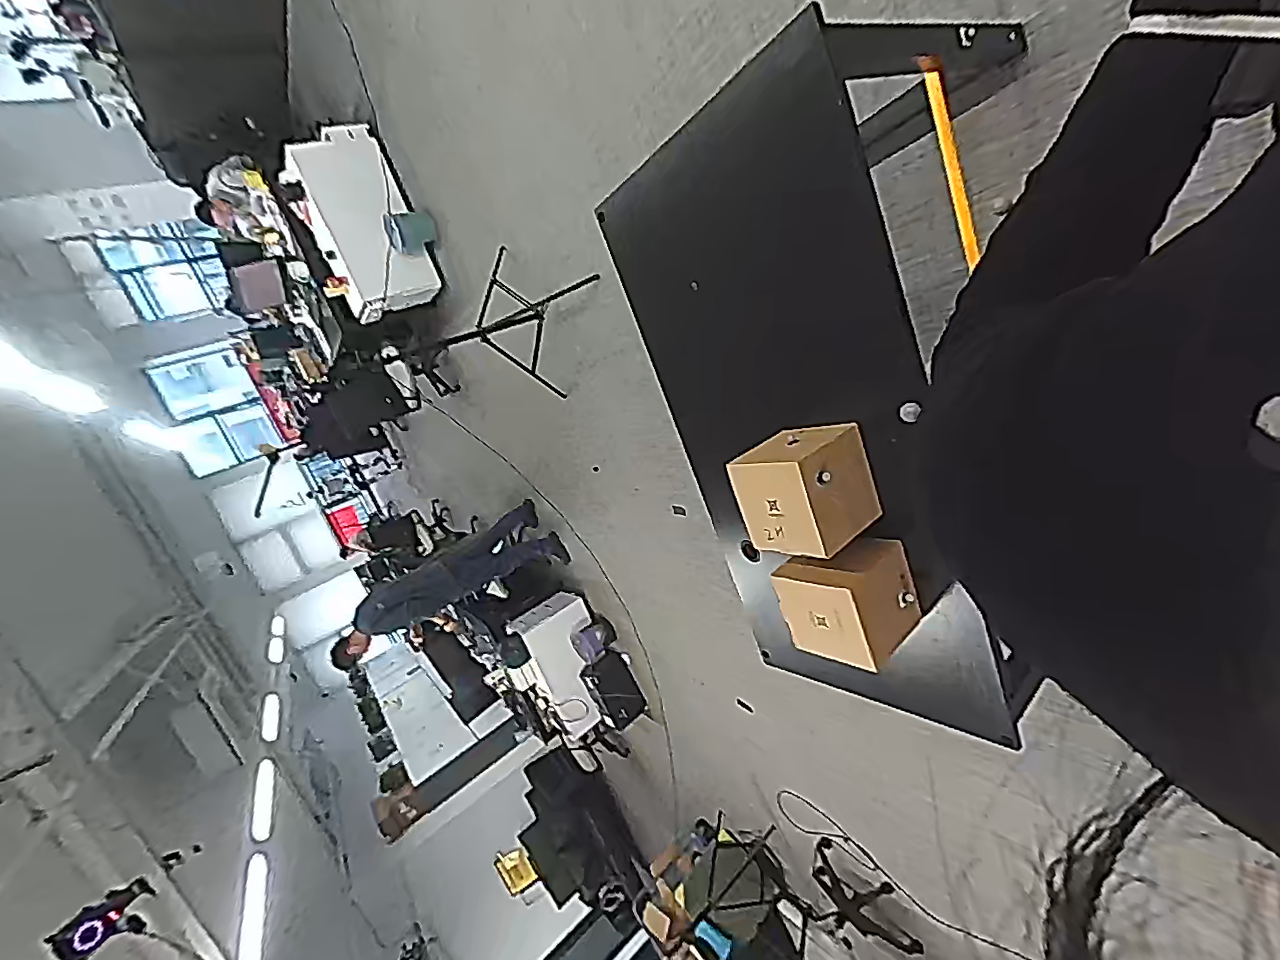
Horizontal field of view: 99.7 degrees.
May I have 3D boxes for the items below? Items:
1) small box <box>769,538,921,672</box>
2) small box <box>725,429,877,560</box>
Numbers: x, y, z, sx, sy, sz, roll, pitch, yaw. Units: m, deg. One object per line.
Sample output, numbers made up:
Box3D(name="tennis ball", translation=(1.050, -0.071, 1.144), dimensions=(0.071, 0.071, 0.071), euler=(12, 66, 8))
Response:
Box3D(name="small box", translation=(0.375, 0.215, 0.992), dimensions=(0.179, 0.176, 0.168), euler=(-4, 113, 57))
Box3D(name="small box", translation=(0.286, 0.017, 0.956), dimensions=(0.168, 0.176, 0.179), euler=(0, 115, 57))
